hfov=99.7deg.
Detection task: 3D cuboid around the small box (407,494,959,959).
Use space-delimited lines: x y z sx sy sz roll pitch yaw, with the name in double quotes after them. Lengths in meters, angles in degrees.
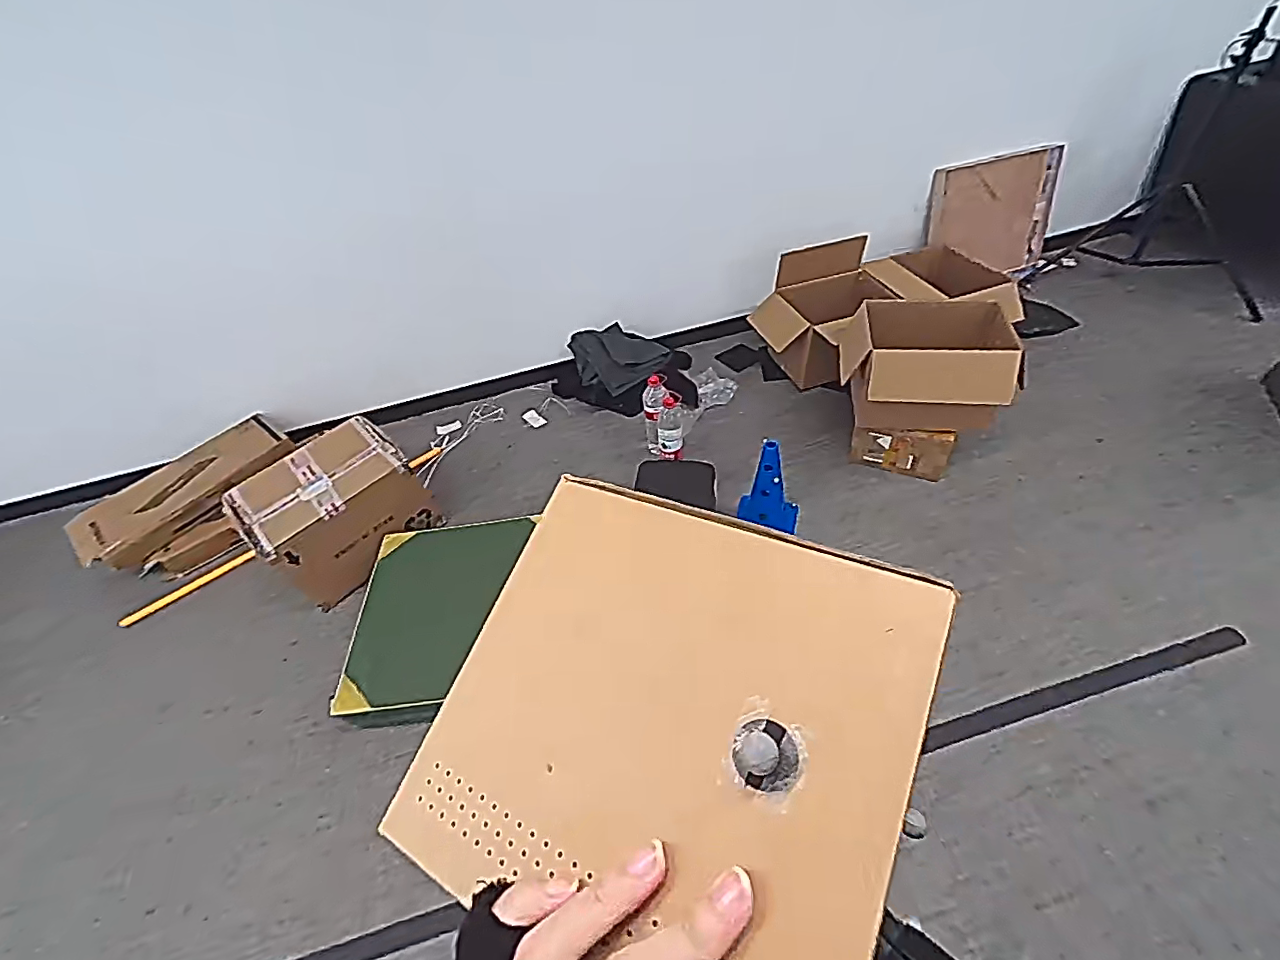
0.032 0.132 0.266 0.179 0.168 0.176 14 68 29 "small box"
